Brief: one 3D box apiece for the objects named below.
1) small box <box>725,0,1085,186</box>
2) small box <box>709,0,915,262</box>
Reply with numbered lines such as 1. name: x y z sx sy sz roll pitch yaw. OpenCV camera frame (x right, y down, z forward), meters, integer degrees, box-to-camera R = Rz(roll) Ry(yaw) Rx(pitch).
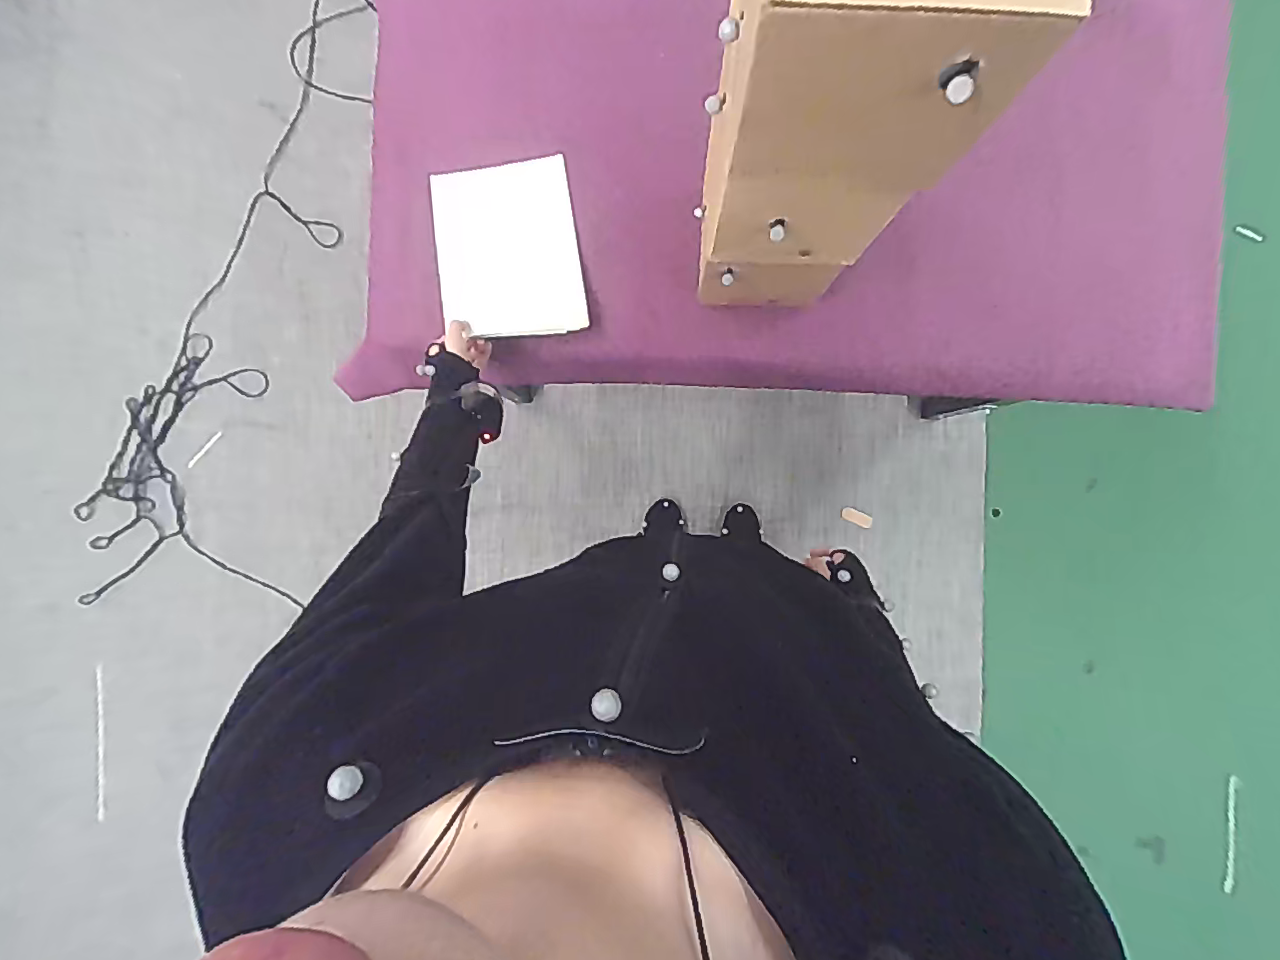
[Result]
1. small box: 0.162 -0.331 0.374 0.179 0.176 0.168 5 88 2
2. small box: 0.160 -0.335 0.539 0.168 0.176 0.179 3 89 2
